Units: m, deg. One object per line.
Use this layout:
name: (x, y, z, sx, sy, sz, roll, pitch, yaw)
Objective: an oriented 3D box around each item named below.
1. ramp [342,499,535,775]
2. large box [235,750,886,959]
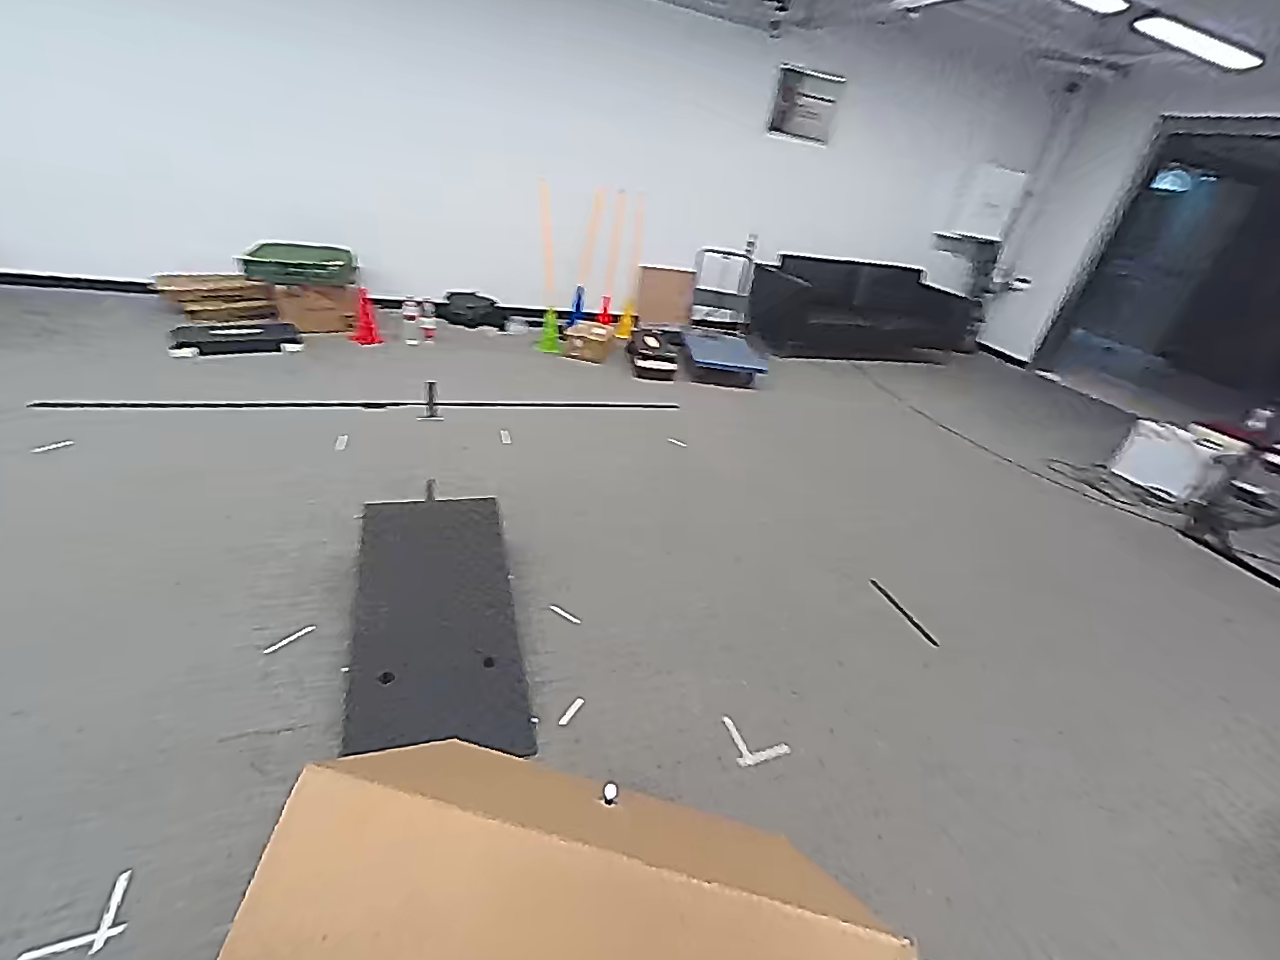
ramp: (-0.652, 0.429, 1.753, 0.509, 0.206, 0.991, -2, 34, -23)
large box: (-0.072, 0.436, 0.439, 0.408, 0.320, 0.320, 12, 69, 3)
